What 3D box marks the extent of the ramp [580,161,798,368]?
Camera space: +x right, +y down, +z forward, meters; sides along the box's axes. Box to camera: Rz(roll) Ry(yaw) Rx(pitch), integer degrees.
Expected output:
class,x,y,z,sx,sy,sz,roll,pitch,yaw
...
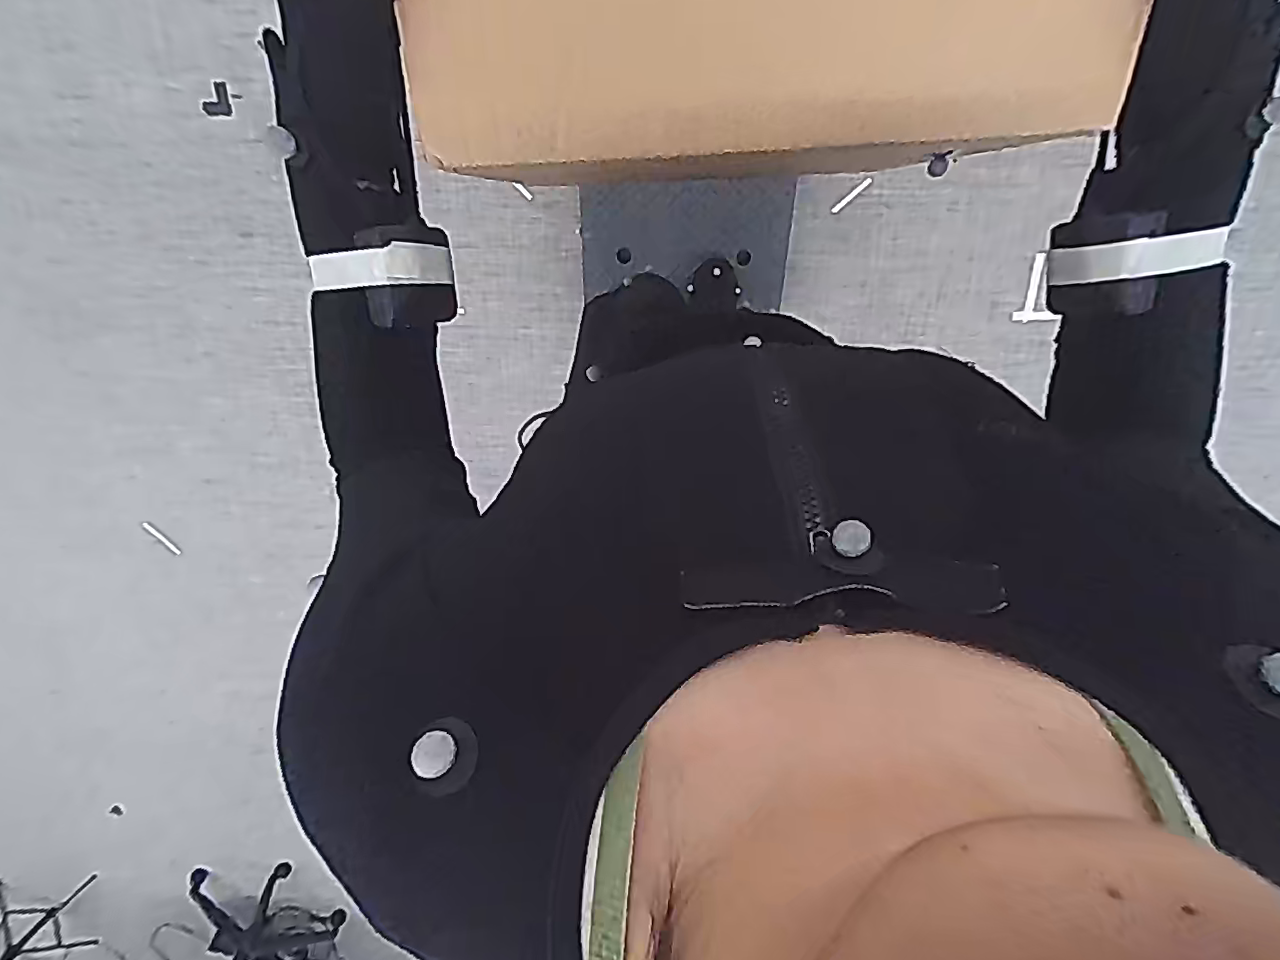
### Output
class,x,y,z,sx,sy,sz,roll,pitch,yaw
ramp,0.108,-0.731,1.194,0.509,0.206,0.991,0,111,2

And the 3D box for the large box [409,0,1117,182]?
class,x,y,z,sx,sy,sz,roll,pitch,yaw
large box,0.066,-0.410,0.396,0.408,0.320,0.320,-3,116,2
